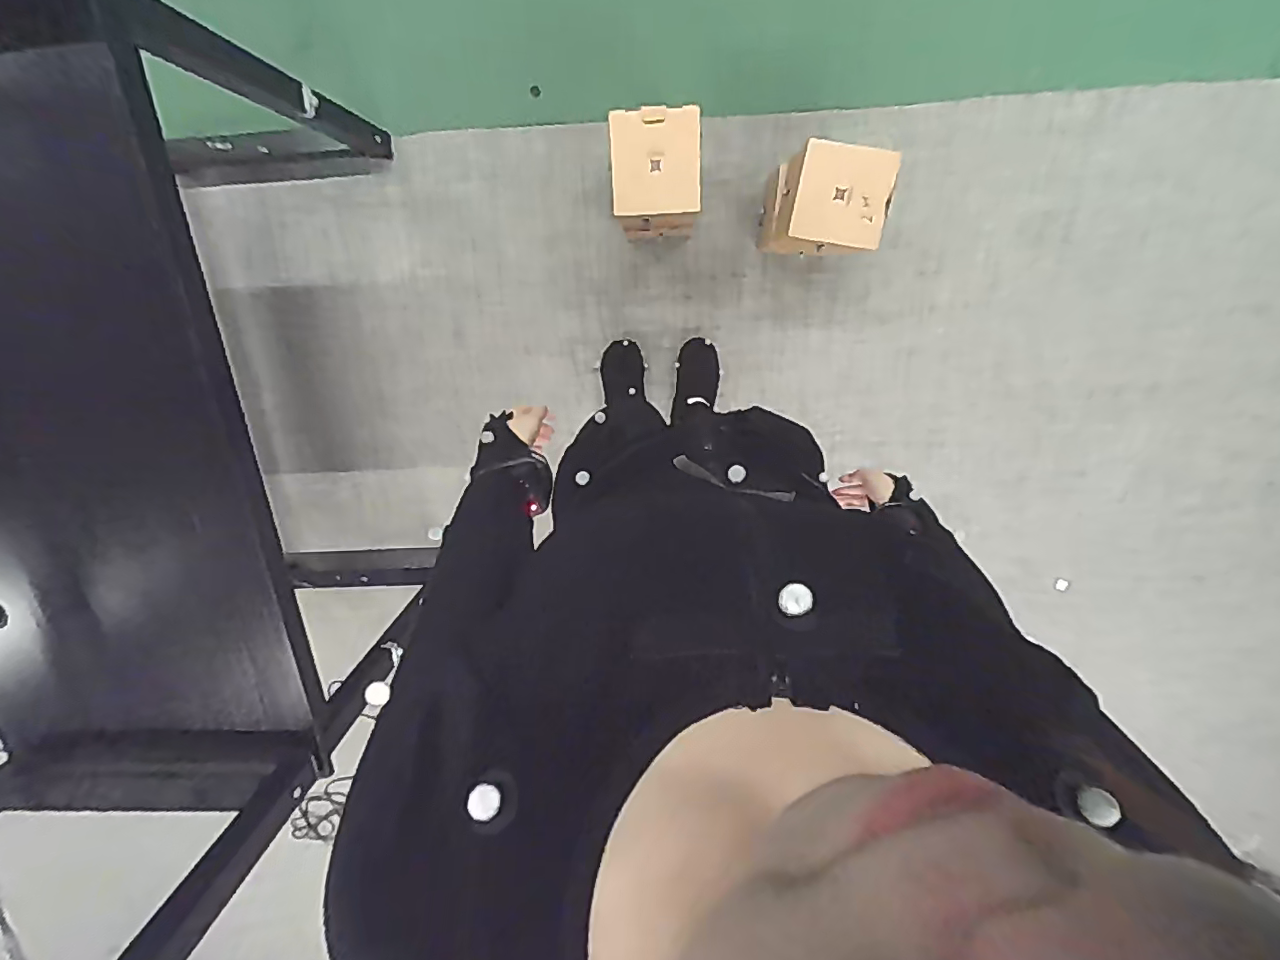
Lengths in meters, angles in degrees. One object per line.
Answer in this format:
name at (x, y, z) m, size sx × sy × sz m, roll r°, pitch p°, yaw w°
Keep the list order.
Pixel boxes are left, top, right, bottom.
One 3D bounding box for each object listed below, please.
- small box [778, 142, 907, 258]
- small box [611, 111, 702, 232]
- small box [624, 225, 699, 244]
small box at (0.382, -0.536, 1.059) m, size 0.179 × 0.176 × 0.168 m, roll 9°, pitch 109°, yaw 0°
small box at (0.038, -0.592, 1.063) m, size 0.168 × 0.176 × 0.179 m, roll -2°, pitch 107°, yaw 4°
small box at (0.048, -0.634, 1.220) m, size 0.168 × 0.176 × 0.179 m, roll -3°, pitch 107°, yaw 4°
